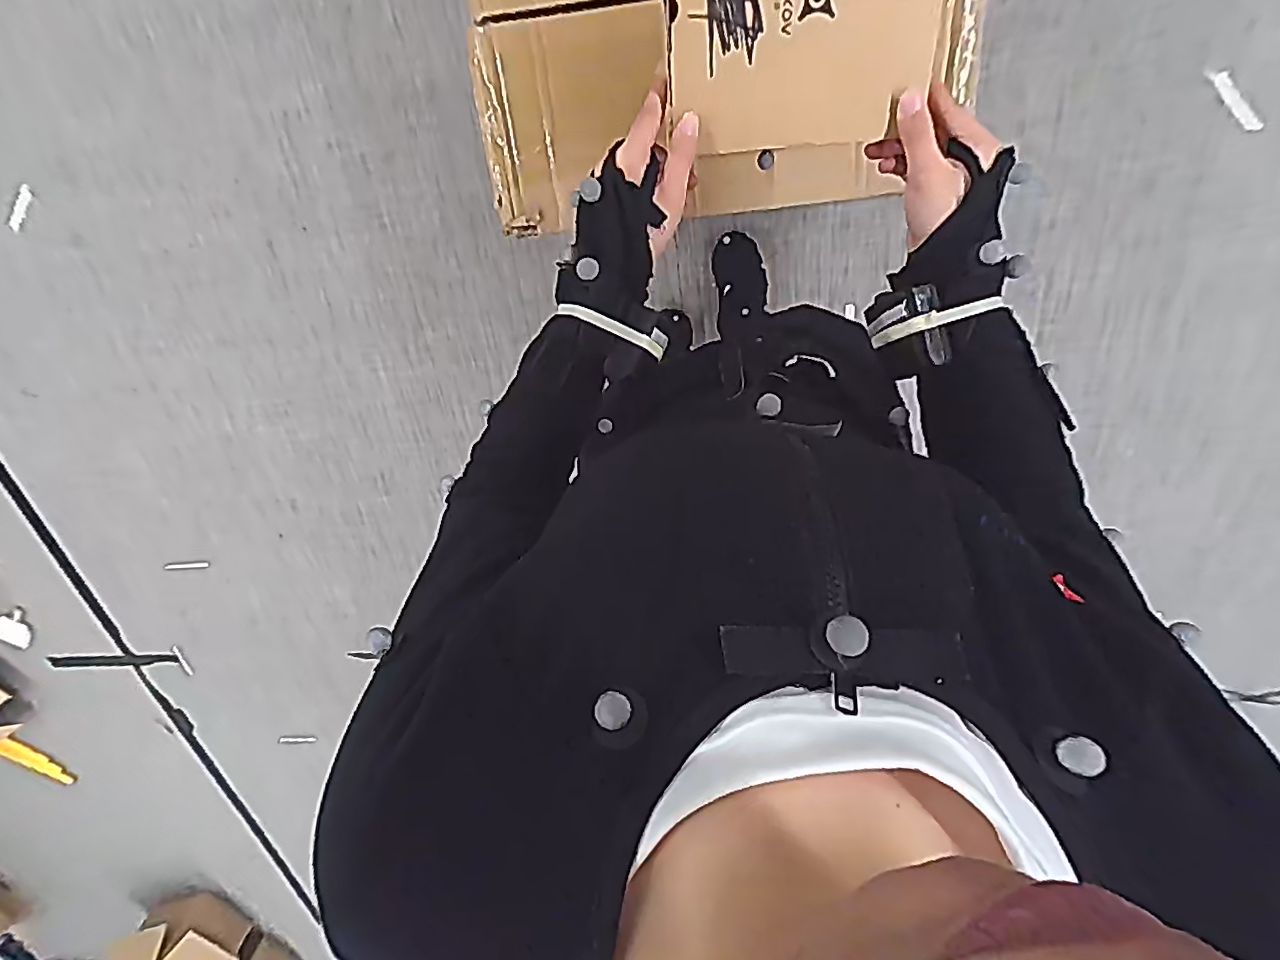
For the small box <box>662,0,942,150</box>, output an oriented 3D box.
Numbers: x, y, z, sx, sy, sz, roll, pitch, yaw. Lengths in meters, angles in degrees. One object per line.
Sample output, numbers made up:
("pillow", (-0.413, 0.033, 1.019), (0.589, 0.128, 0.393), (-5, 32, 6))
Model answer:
("small box", (0.104, -0.349, 0.405), (0.179, 0.176, 0.168), (-3, 122, 3))
